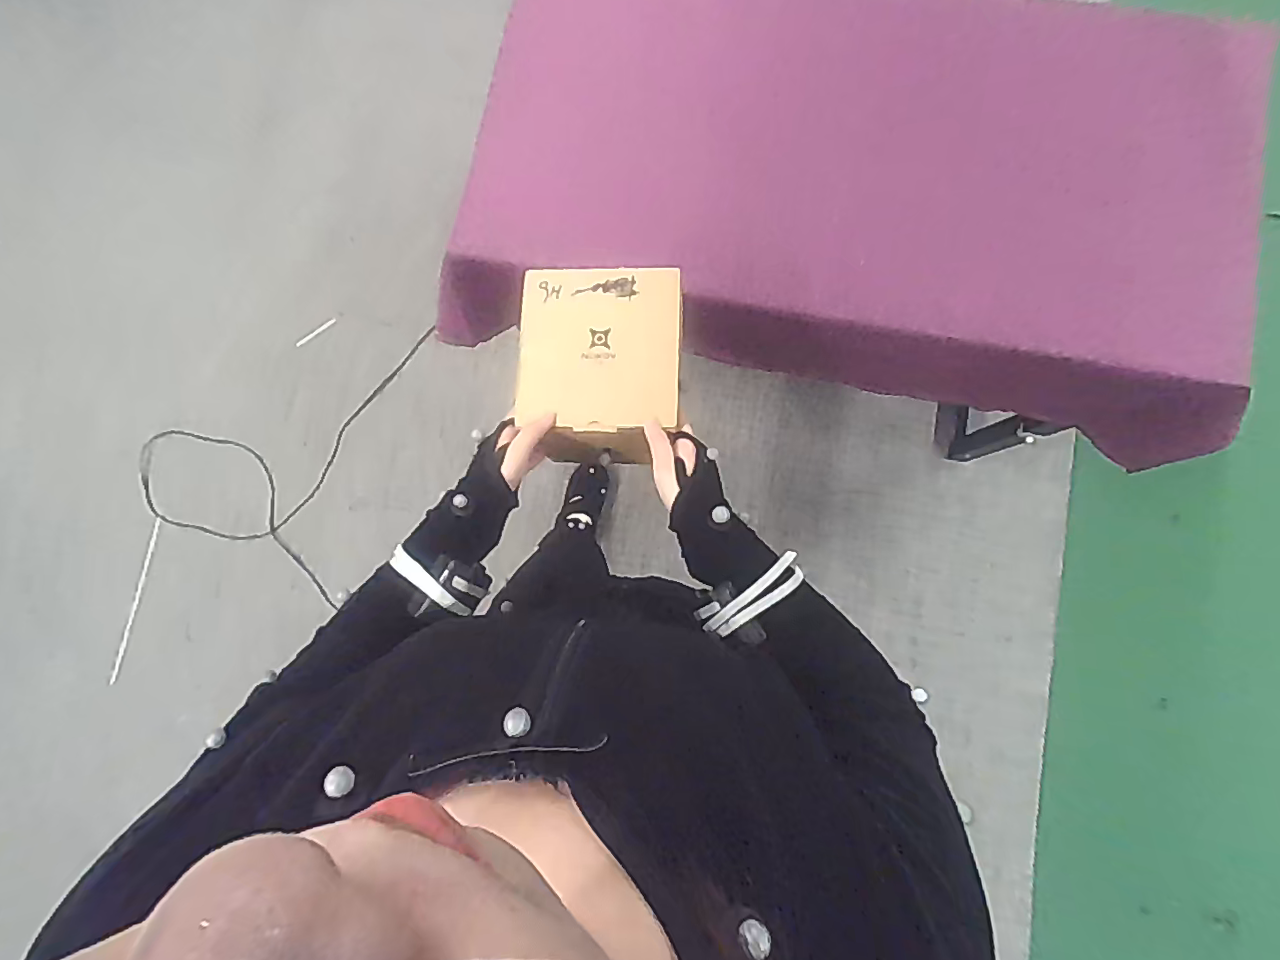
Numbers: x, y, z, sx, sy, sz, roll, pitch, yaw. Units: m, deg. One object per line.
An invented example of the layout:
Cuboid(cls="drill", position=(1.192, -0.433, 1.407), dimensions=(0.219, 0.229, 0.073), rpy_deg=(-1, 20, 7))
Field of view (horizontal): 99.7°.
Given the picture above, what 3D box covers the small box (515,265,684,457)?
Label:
Cuboid(cls="small box", position=(-0.035, -0.125, 0.629), dimensions=(0.168, 0.176, 0.179), rpy_deg=(1, 81, 5))
